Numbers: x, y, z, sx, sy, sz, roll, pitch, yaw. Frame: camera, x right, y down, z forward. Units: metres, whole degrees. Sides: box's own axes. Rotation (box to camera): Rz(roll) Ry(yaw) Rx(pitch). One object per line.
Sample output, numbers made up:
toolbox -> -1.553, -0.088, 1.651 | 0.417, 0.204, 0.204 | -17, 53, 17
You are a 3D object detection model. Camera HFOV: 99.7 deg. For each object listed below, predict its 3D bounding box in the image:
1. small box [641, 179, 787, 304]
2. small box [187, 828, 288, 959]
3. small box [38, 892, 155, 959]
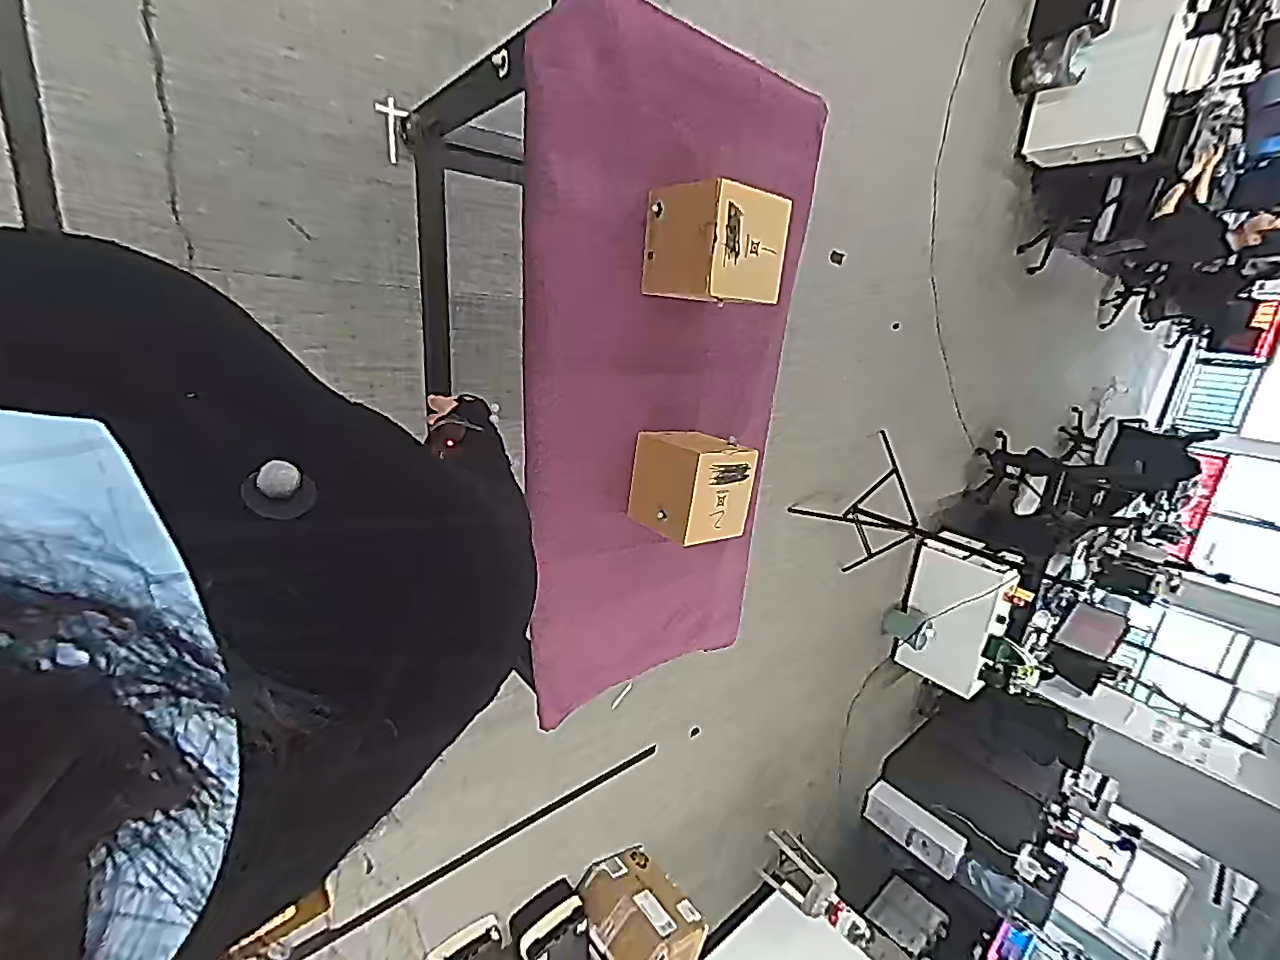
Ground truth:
small box -> 0.120, -0.395, 0.924 | 0.179, 0.176, 0.168 | -9, 112, -39
small box -> -1.034, 1.057, 1.391 | 0.179, 0.176, 0.168 | -16, 117, -36
small box -> -1.235, 1.107, 1.235 | 0.168, 0.176, 0.179 | -14, 115, -38
